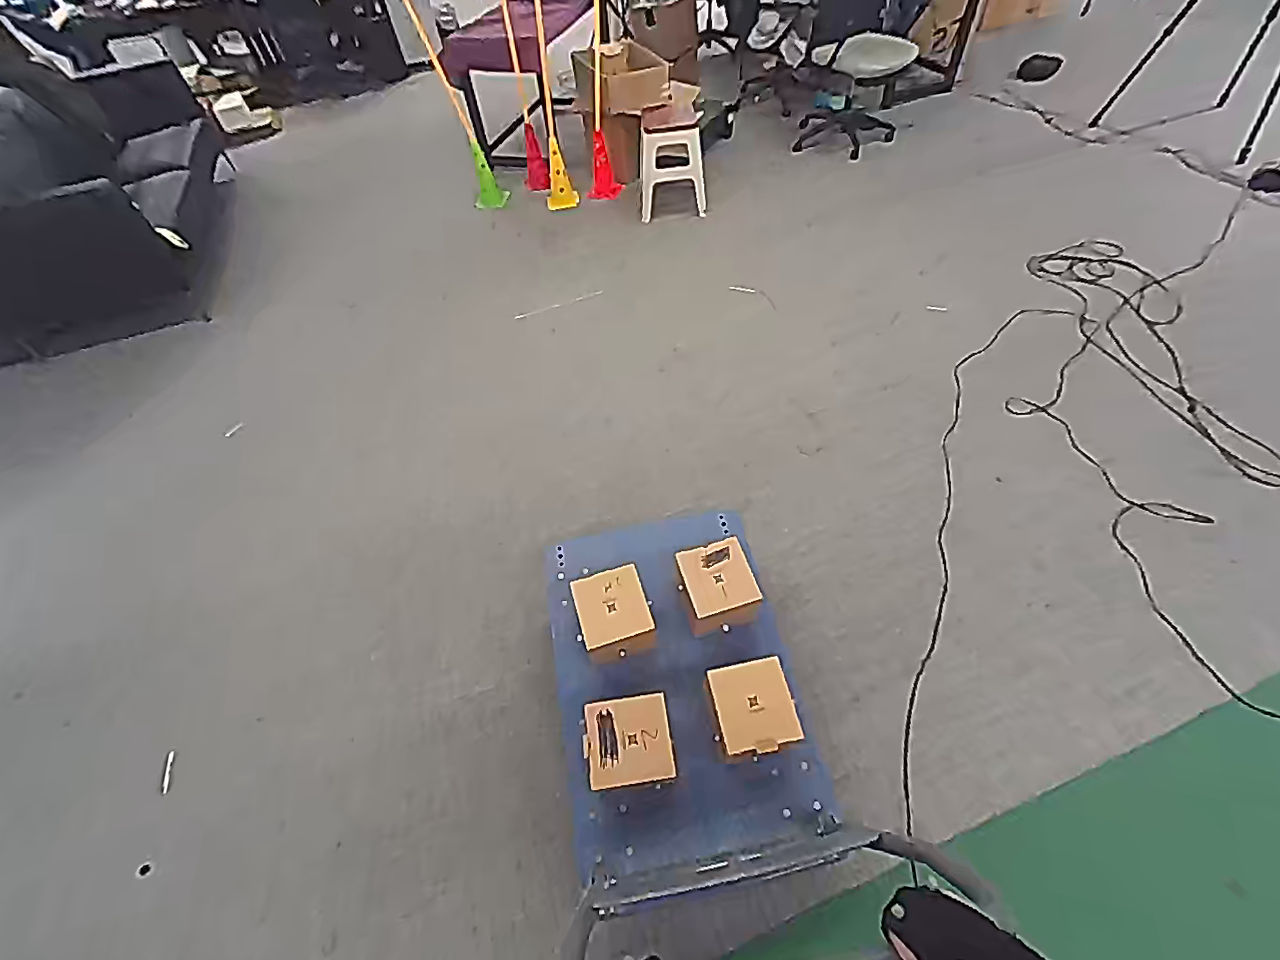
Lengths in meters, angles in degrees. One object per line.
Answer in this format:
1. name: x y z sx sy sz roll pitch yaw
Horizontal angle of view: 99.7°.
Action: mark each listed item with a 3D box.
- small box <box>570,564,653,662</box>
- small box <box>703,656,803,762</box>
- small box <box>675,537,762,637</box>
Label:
1. small box: -0.067 0.339 1.349 0.168 0.176 0.179 -15 58 -9
2. small box: 0.245 0.521 1.223 0.168 0.176 0.179 -11 58 -5
3. small box: 0.191 0.276 1.381 0.168 0.176 0.179 -15 59 -7
